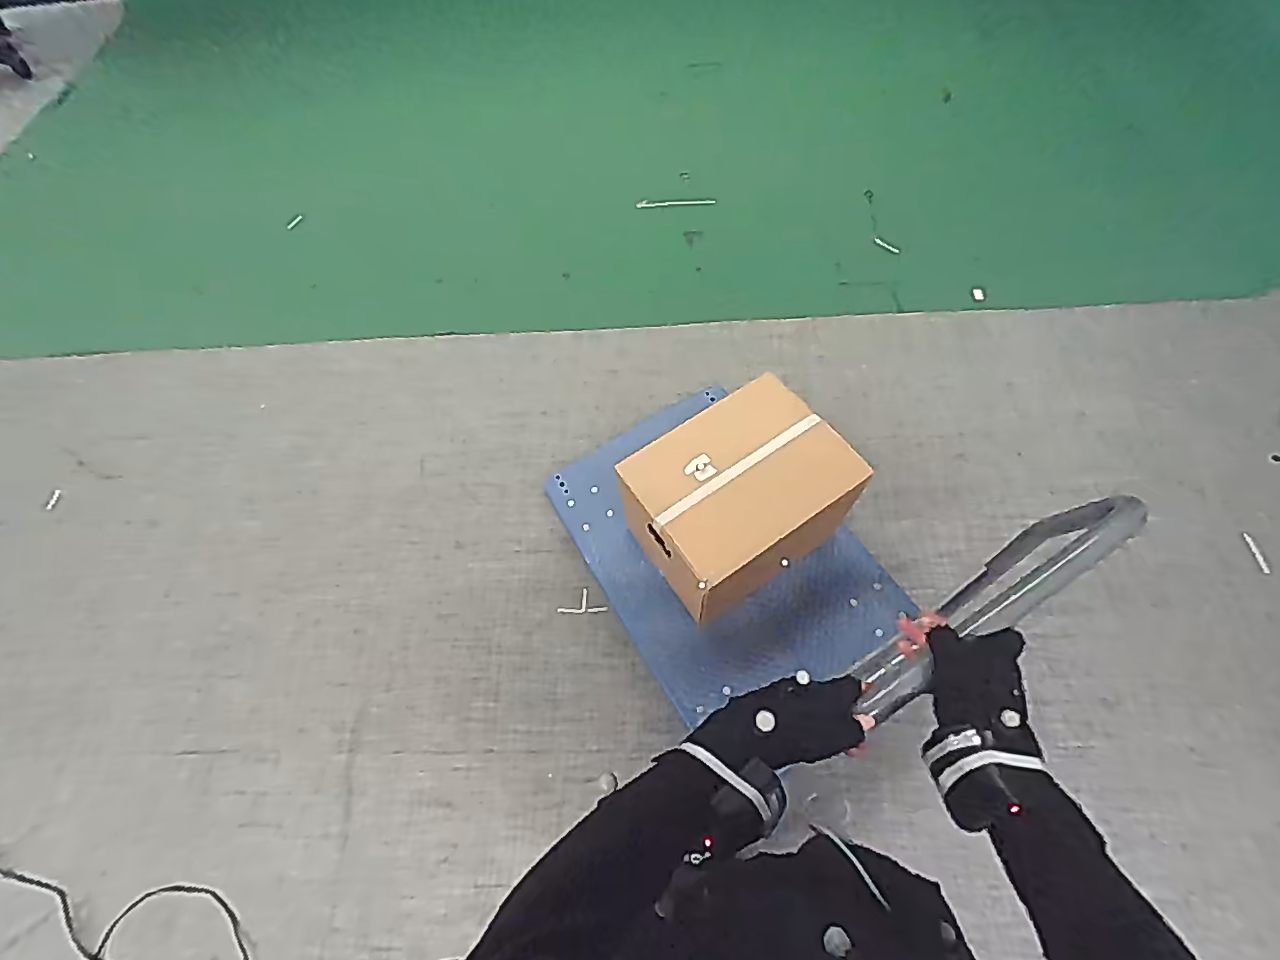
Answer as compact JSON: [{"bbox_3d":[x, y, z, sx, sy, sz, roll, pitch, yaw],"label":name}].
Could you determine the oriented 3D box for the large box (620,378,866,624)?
[{"bbox_3d":[0.214,0.057,1.211,0.408,0.320,0.320,-34,65,-11],"label":"large box"}]
